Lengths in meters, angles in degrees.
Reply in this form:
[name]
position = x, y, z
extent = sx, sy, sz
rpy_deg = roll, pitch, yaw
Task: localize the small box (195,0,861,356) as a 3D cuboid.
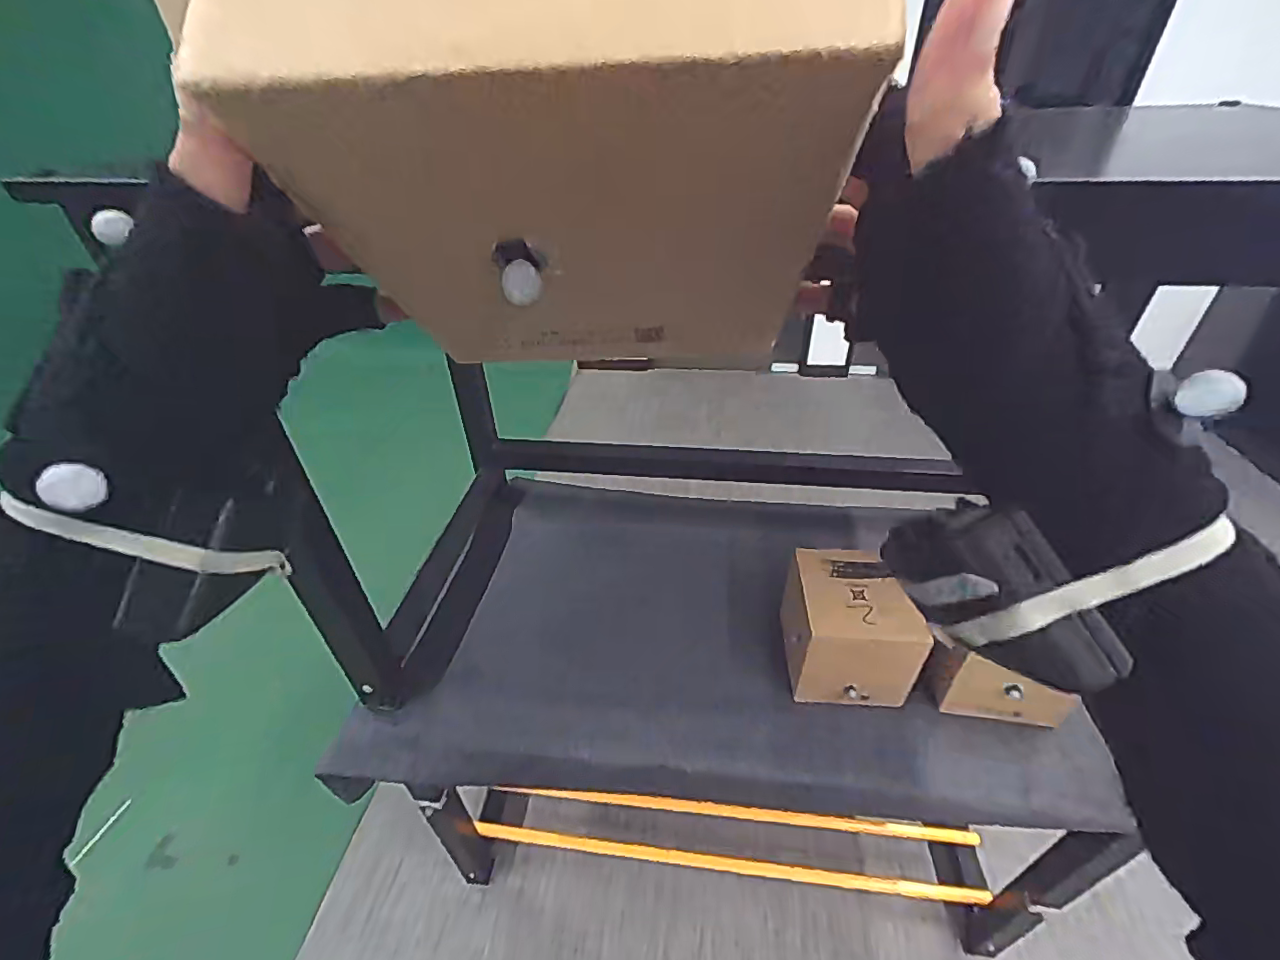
[small box]
position = -0.024, -0.160, 0.222
extent = 0.168, 0.176, 0.179
rpy_deg = -1, 78, 3
